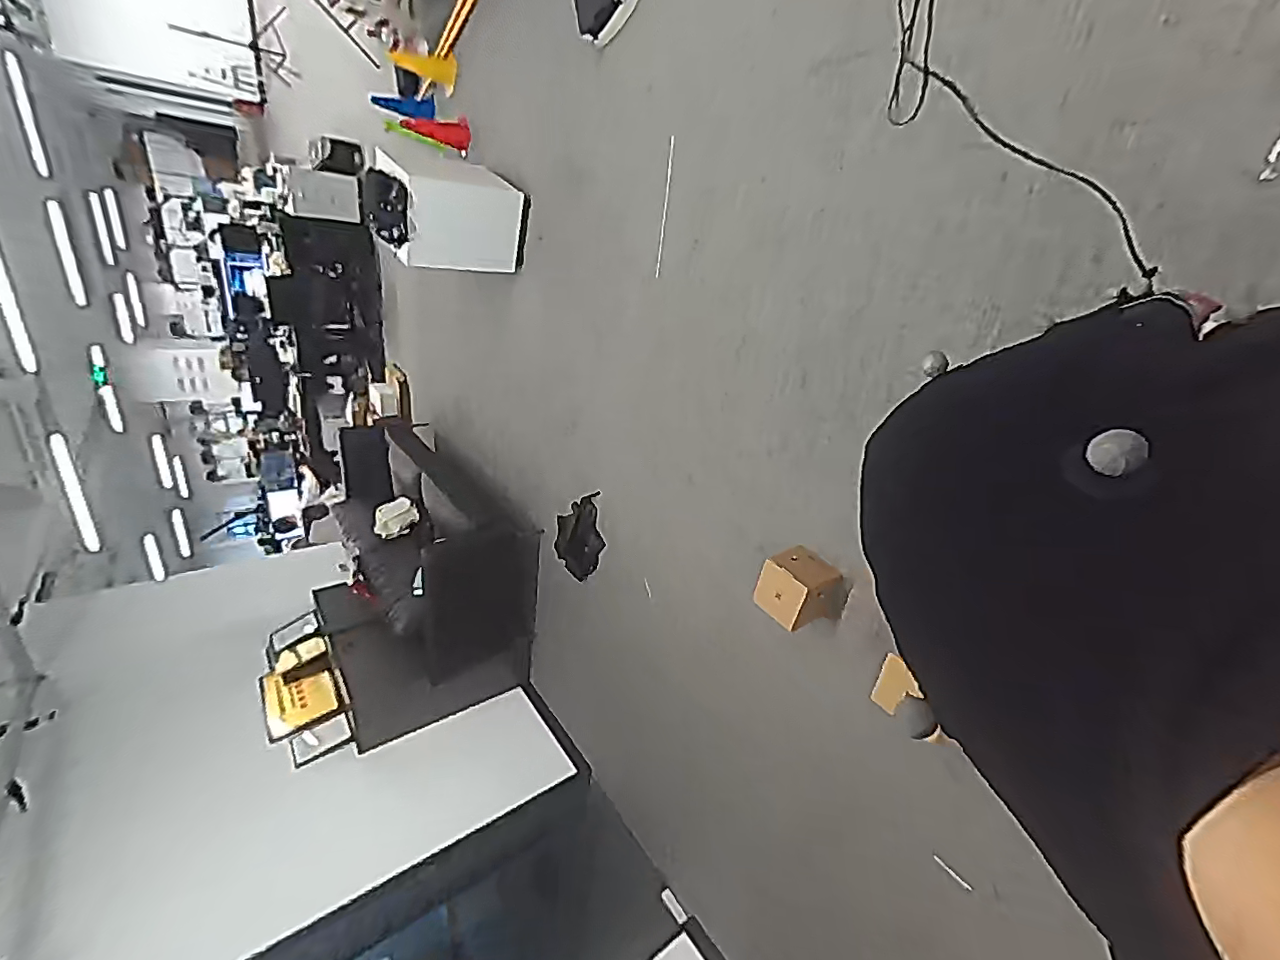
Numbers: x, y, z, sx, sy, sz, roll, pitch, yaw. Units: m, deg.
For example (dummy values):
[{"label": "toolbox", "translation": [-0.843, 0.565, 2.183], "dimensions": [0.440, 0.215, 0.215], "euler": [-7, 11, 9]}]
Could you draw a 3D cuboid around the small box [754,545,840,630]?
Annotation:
[{"label": "small box", "translation": [0.489, 0.325, 1.676], "dimensions": [0.168, 0.176, 0.179], "euler": [39, 130, 42]}]

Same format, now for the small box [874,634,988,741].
[{"label": "small box", "translation": [0.744, 0.518, 1.388], "dimensions": [0.179, 0.176, 0.168], "euler": [33, 125, 44]}]
